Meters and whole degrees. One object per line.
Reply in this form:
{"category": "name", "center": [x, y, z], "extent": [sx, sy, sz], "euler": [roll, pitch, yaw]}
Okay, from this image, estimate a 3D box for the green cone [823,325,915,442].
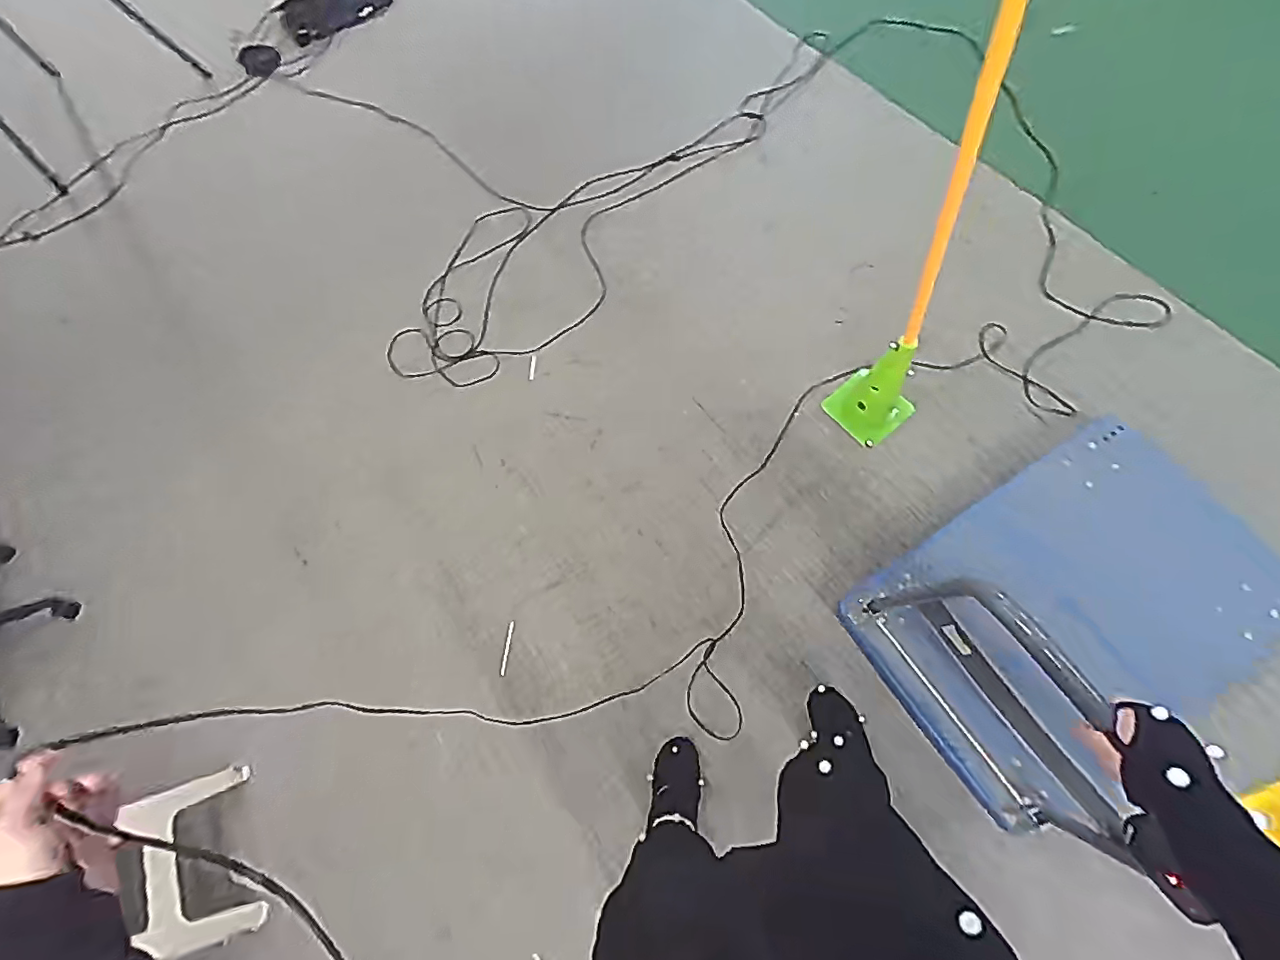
{"category": "green cone", "center": [0.653, -0.287, 1.435], "extent": [0.200, 0.368, 0.202], "euler": [-40, 70, -8]}
